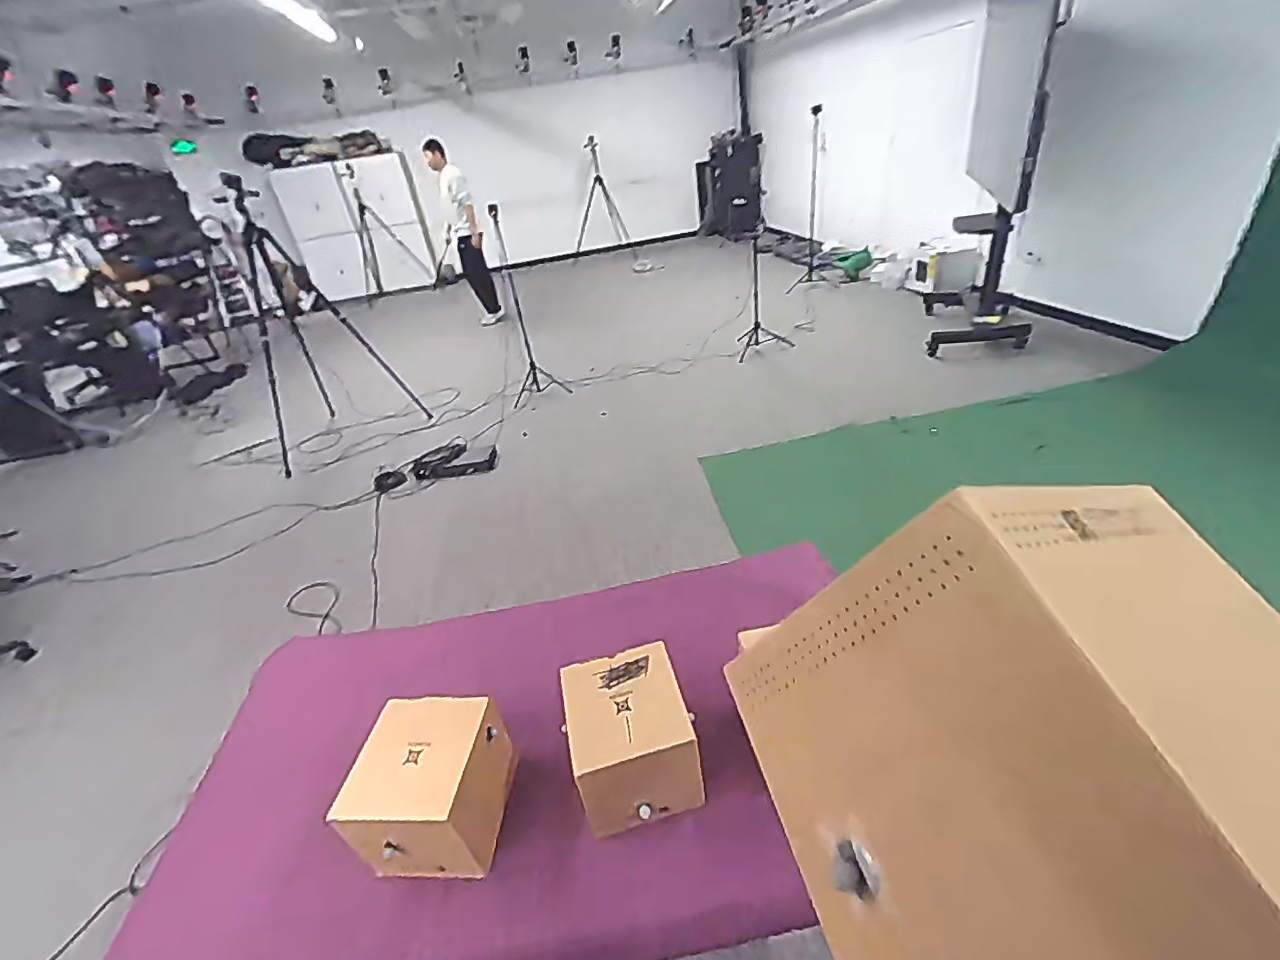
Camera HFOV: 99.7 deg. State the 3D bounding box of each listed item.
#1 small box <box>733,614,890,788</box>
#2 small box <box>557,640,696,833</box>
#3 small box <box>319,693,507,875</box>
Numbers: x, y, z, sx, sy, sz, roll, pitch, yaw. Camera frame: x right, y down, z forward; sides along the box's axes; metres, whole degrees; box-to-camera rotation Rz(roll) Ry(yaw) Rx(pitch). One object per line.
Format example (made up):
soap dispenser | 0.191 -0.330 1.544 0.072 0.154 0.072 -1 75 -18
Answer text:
small box | 0.246 0.330 0.807 0.179 0.176 0.168 -9 31 -1
small box | -0.022 0.375 0.800 0.168 0.176 0.179 -13 33 -7
small box | -0.305 0.434 0.775 0.168 0.176 0.179 -4 31 7
